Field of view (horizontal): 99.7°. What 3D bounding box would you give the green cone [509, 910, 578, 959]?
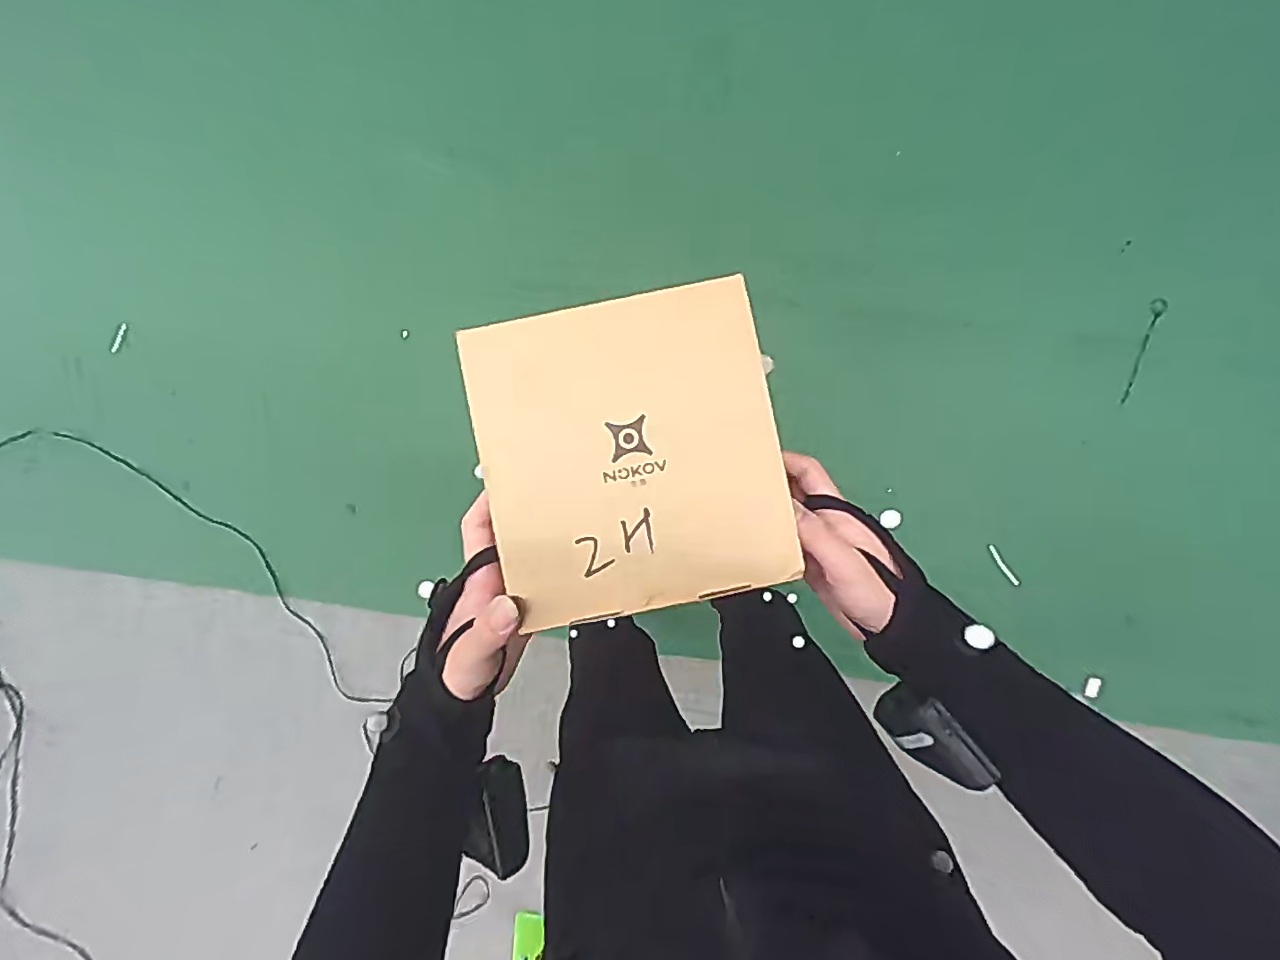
[{"bbox_3d":[-0.305,1.377,1.407,0.202,0.368,0.200,7,97,7],"label":"green cone"}]
